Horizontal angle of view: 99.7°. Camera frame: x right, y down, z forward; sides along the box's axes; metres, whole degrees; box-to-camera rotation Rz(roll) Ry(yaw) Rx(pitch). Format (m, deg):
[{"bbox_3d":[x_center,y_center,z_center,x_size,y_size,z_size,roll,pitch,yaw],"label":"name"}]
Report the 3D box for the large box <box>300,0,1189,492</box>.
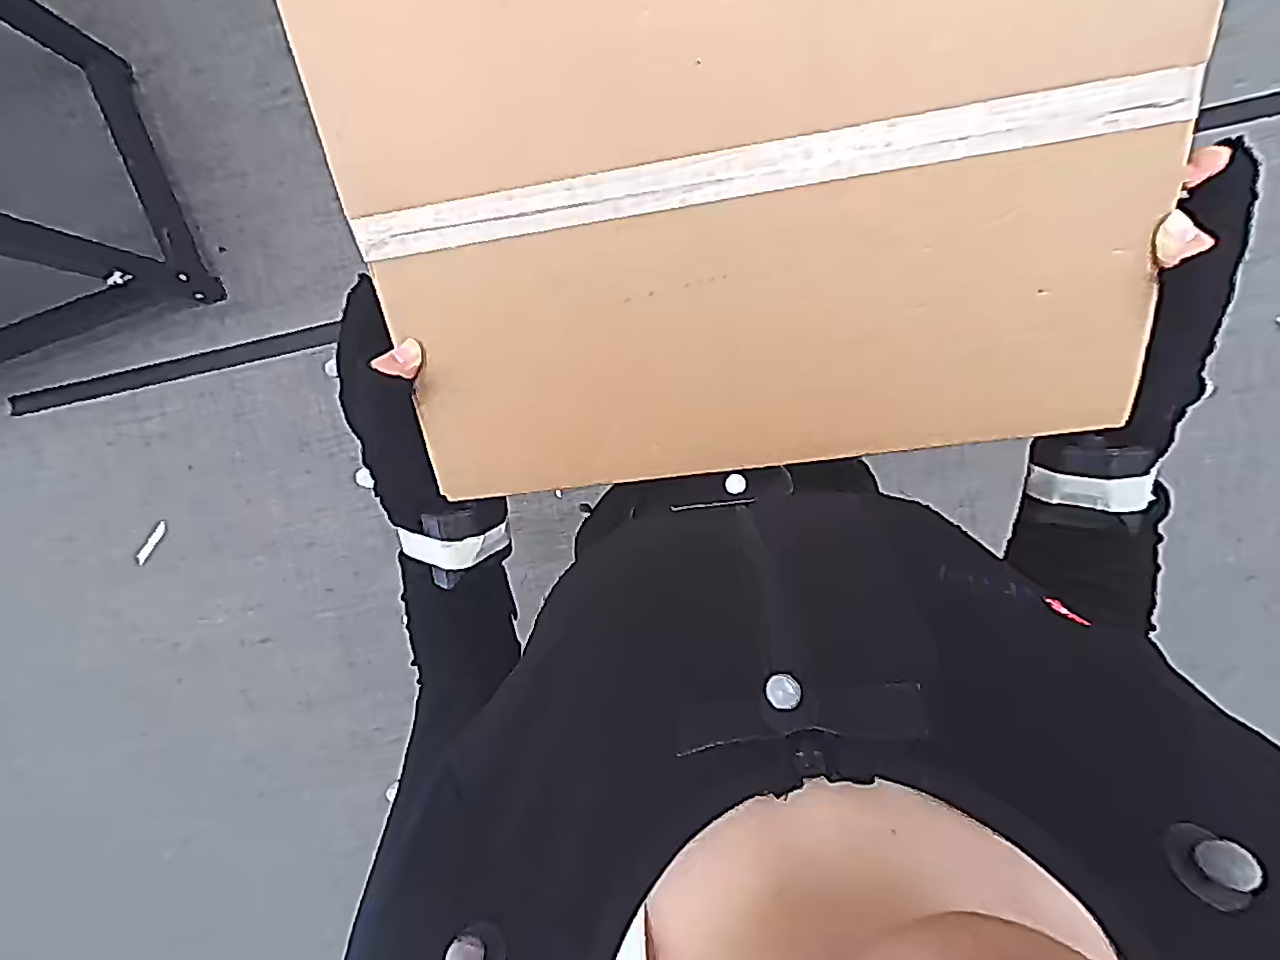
[{"bbox_3d":[0.057,-0.213,0.413,0.408,0.320,0.320,-7,114,6],"label":"large box"}]
